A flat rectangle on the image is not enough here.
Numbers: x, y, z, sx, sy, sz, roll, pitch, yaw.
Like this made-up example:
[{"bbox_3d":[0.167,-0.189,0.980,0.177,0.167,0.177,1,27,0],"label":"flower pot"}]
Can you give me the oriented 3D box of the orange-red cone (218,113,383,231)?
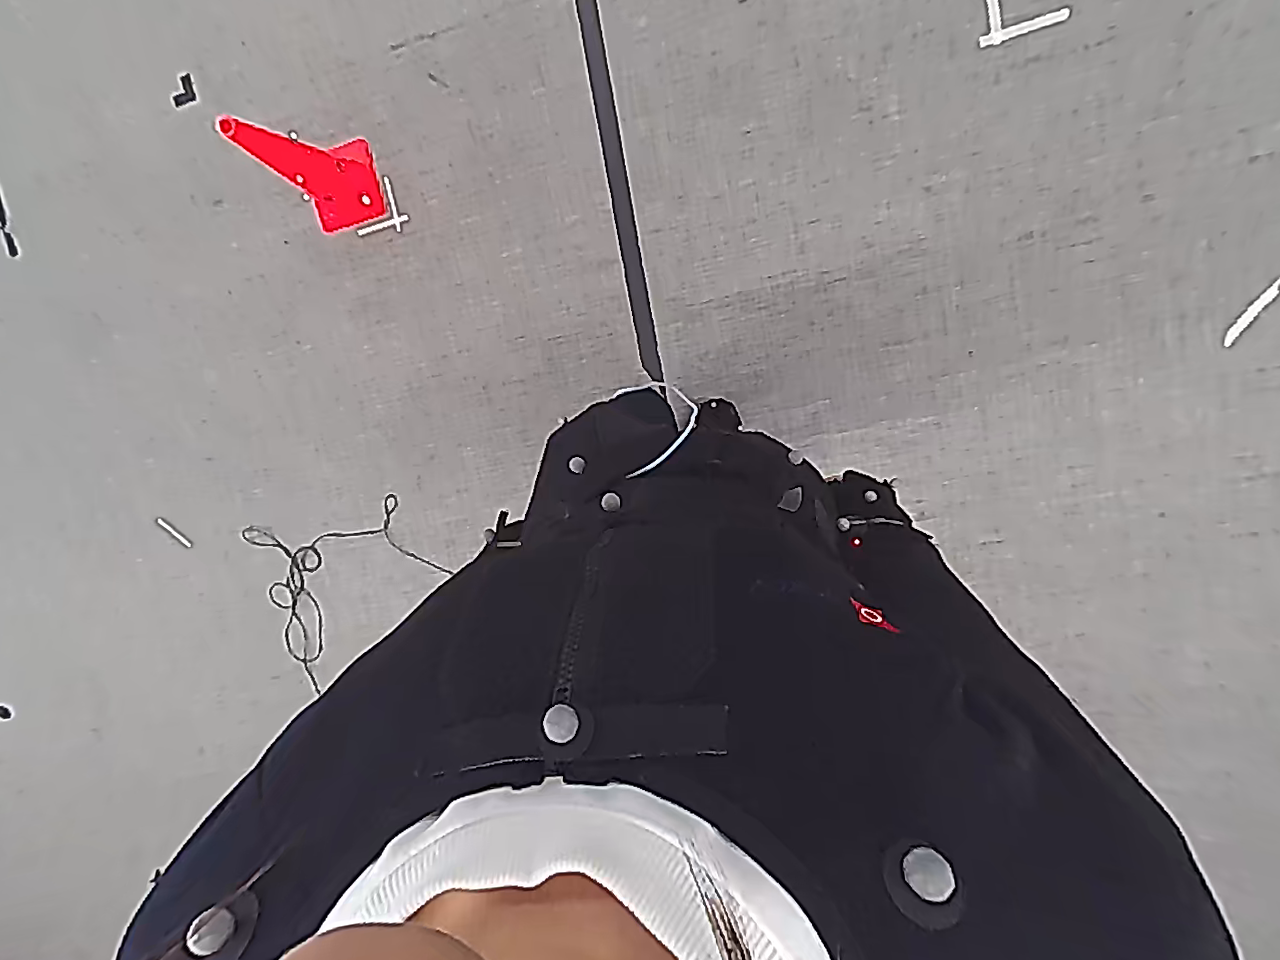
[{"bbox_3d":[-0.810,-0.750,1.261,0.198,0.360,0.199,-10,97,10],"label":"orange-red cone"}]
